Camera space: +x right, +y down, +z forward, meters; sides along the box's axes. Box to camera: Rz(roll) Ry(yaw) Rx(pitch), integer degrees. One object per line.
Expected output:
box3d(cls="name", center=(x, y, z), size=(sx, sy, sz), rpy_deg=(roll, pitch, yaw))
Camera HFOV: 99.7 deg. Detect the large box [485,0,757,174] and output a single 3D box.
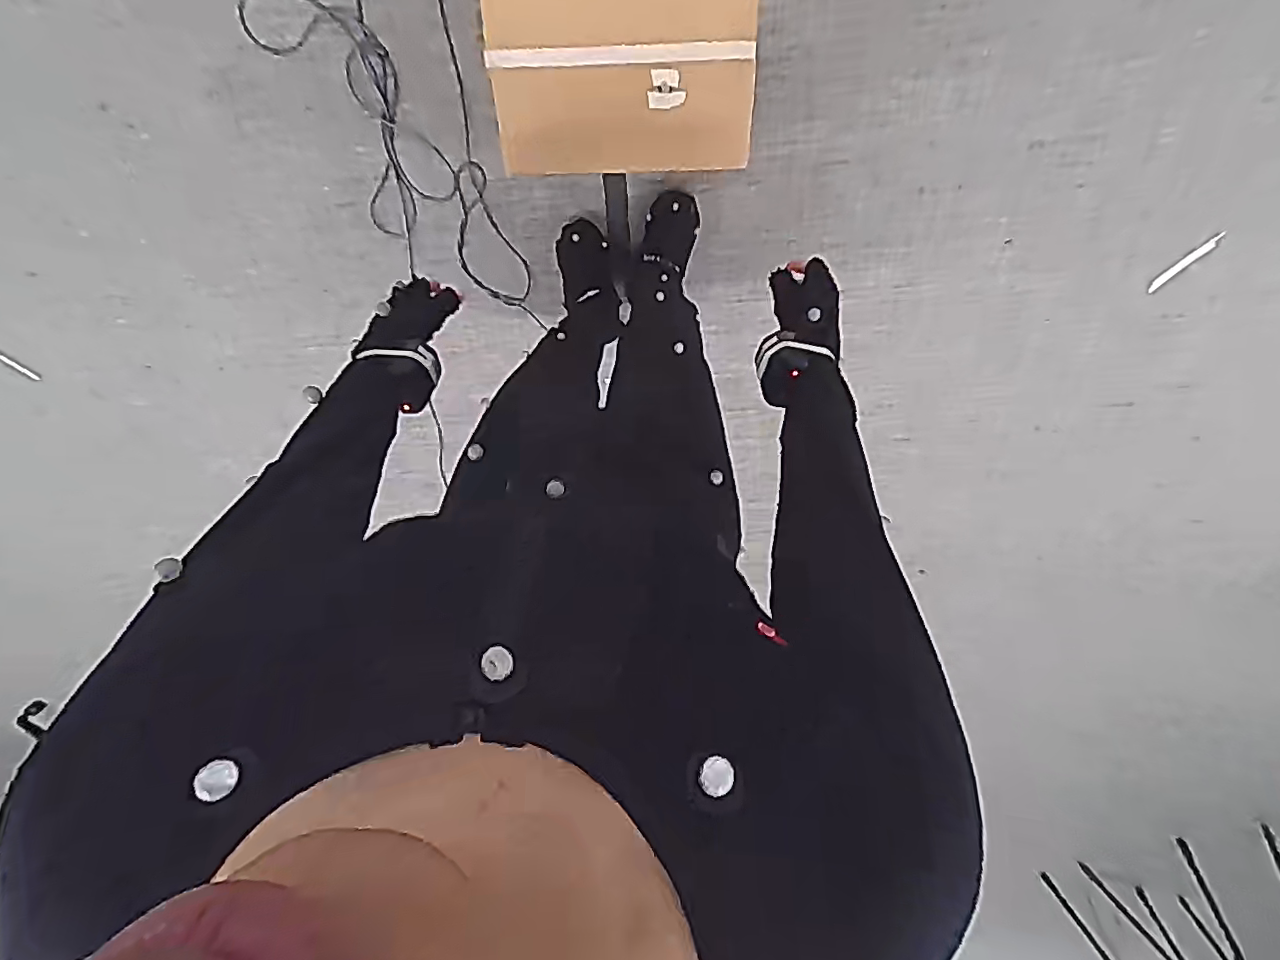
box3d(cls="large box", center=(-0.028, -0.733, 0.943), size=(0.408, 0.320, 0.320), rpy_deg=(-2, 125, 0))
